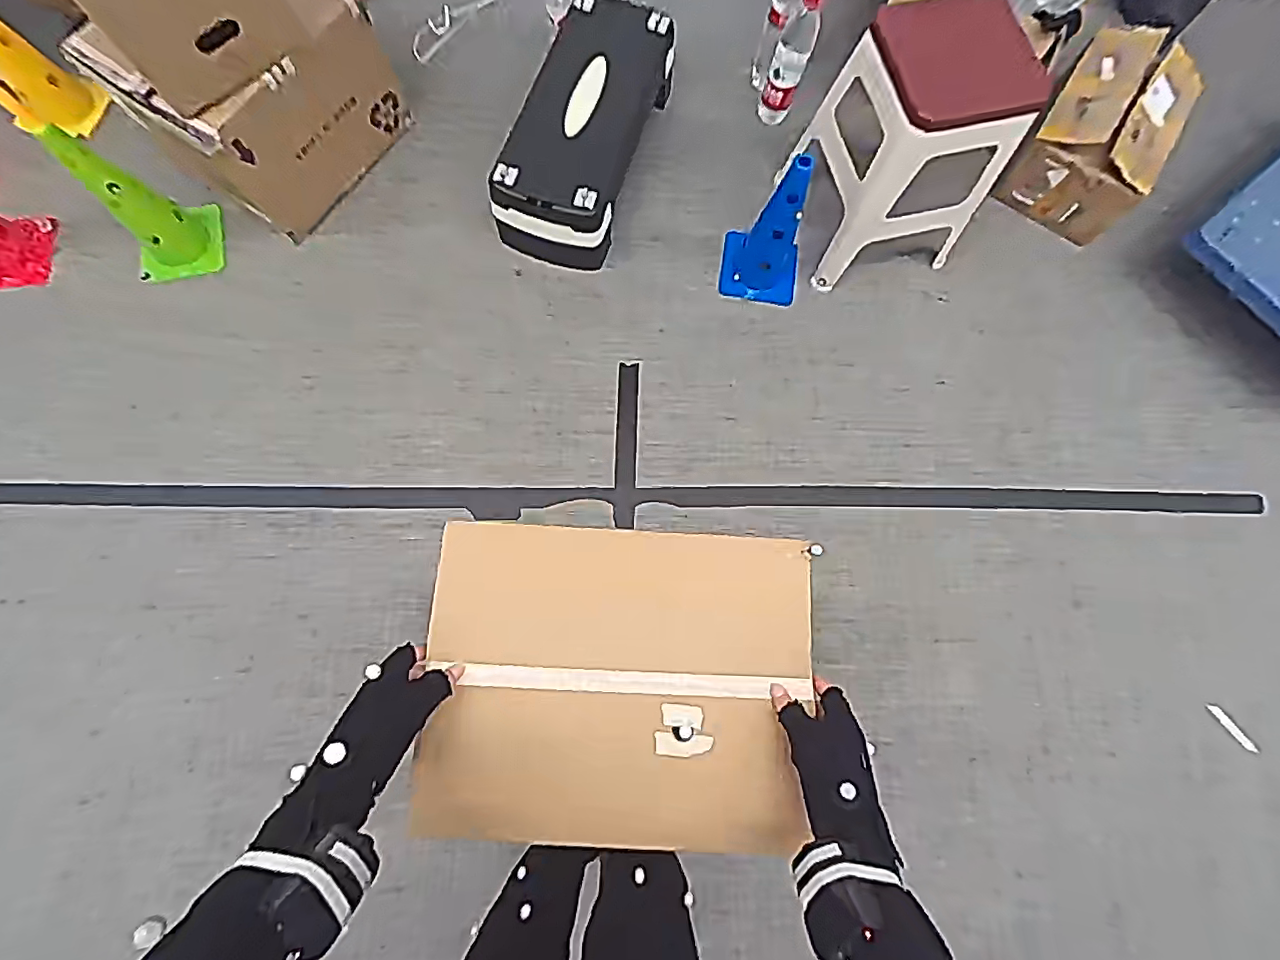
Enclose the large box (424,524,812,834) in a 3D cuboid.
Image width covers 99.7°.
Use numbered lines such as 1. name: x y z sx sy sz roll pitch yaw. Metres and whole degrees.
1. large box: -0.024 0.243 0.727 0.408 0.320 0.320 3 77 -2
